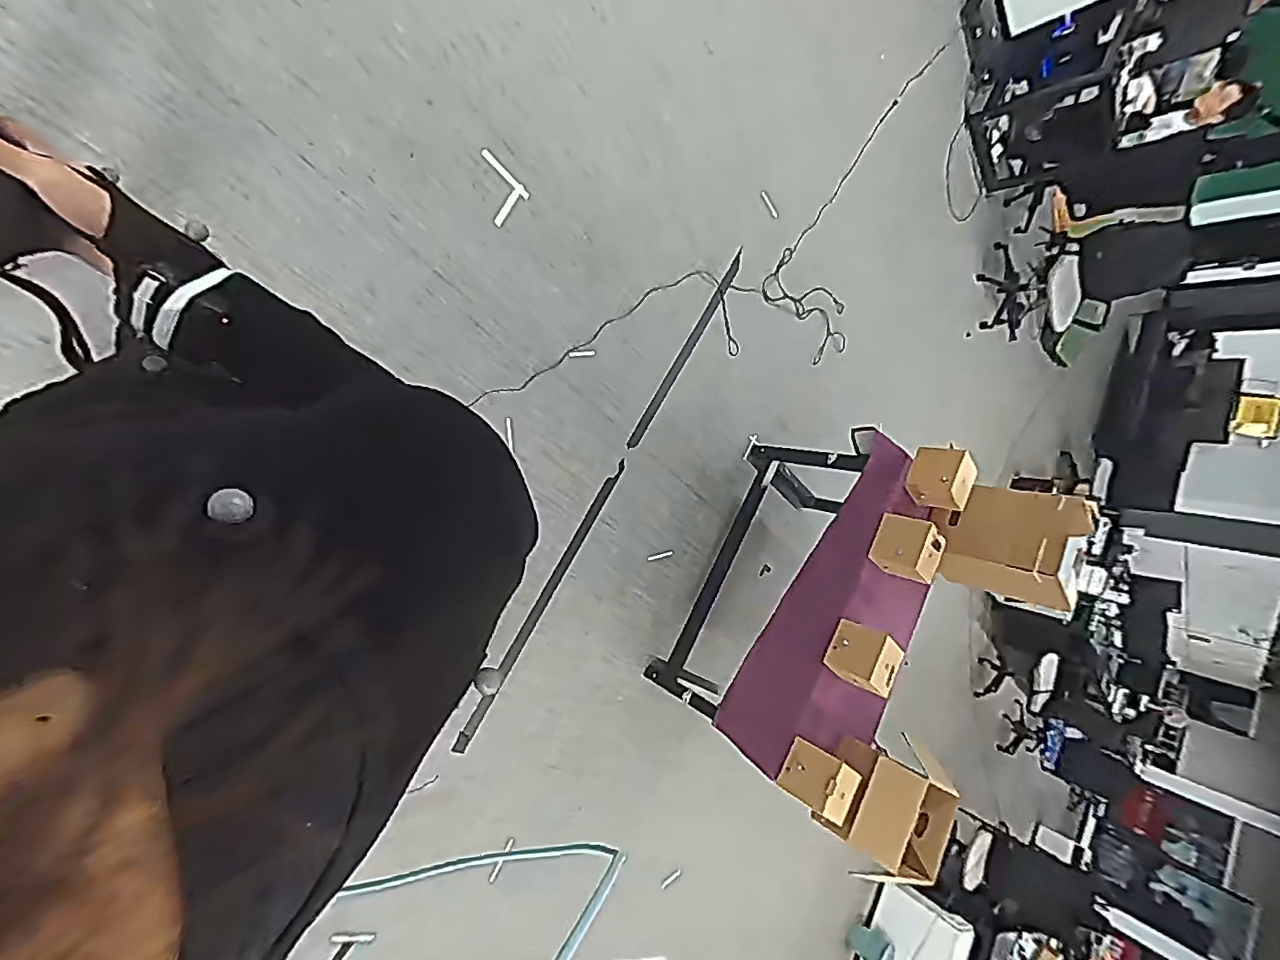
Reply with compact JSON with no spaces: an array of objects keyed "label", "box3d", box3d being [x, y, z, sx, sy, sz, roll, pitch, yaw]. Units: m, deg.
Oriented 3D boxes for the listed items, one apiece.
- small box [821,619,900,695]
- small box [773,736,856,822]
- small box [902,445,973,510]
[{"label":"small box","box3d":[0.743,0.593,1.828,0.179,0.176,0.168,43,70,-37]},{"label":"small box","box3d":[0.562,0.956,1.741,0.179,0.176,0.168,46,68,-36]},{"label":"small box","box3d":[1.111,-0.015,2.023,0.168,0.176,0.179,38,75,-39]}]
